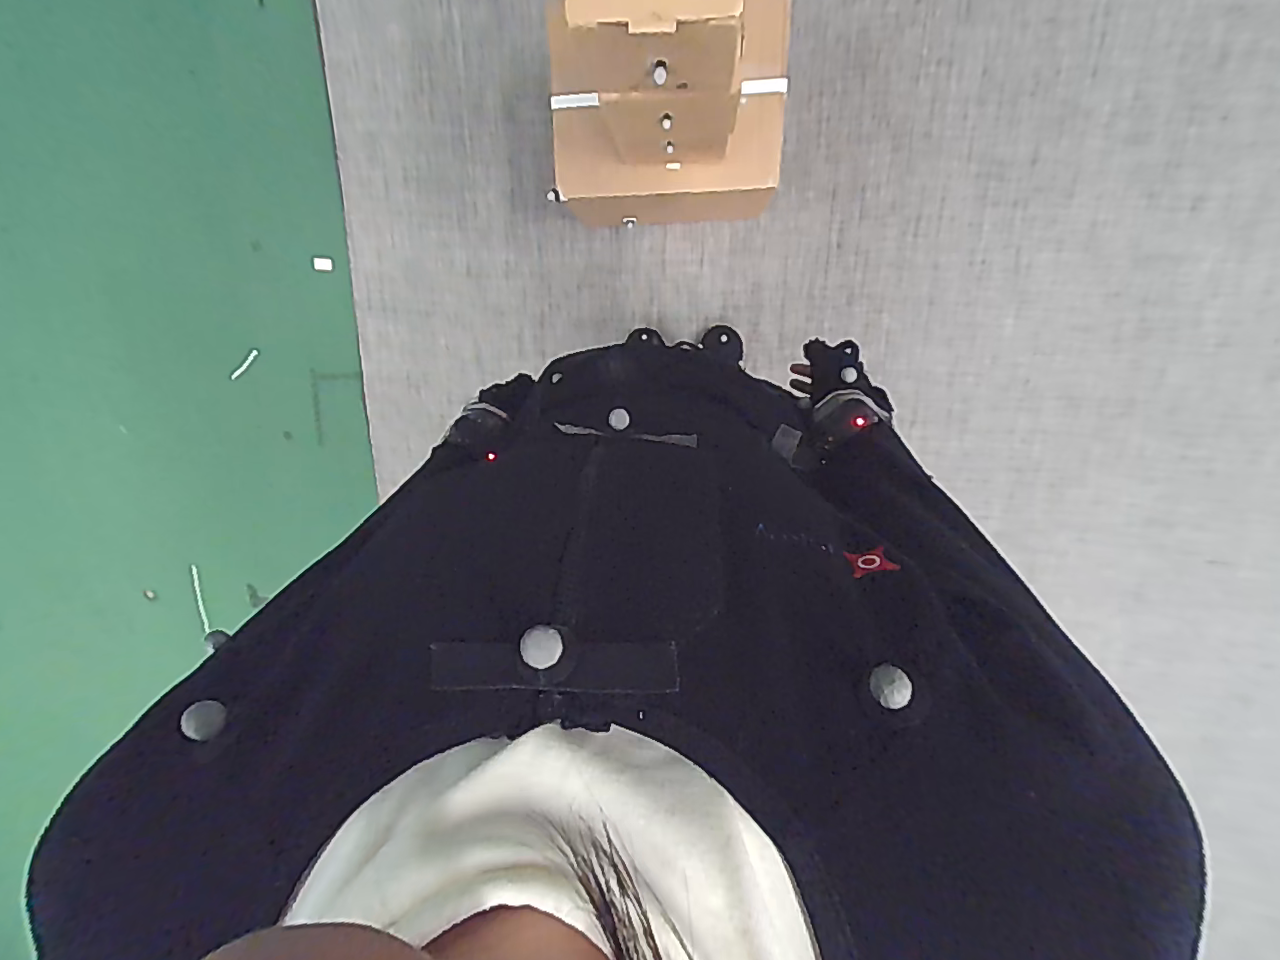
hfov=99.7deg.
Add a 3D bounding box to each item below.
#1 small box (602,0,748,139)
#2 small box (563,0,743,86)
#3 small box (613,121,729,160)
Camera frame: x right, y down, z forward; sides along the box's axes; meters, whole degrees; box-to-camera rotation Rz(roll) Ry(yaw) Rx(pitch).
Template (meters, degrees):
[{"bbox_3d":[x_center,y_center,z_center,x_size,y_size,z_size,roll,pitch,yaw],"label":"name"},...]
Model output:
[{"bbox_3d":[0.044,-0.565,0.703,0.179,0.176,0.168,-2,108,7],"label":"small box"},{"bbox_3d":[0.023,-0.525,0.546,0.168,0.176,0.179,5,109,6],"label":"small box"},{"bbox_3d":[0.056,-0.620,0.858,0.179,0.176,0.168,2,108,5],"label":"small box"}]
